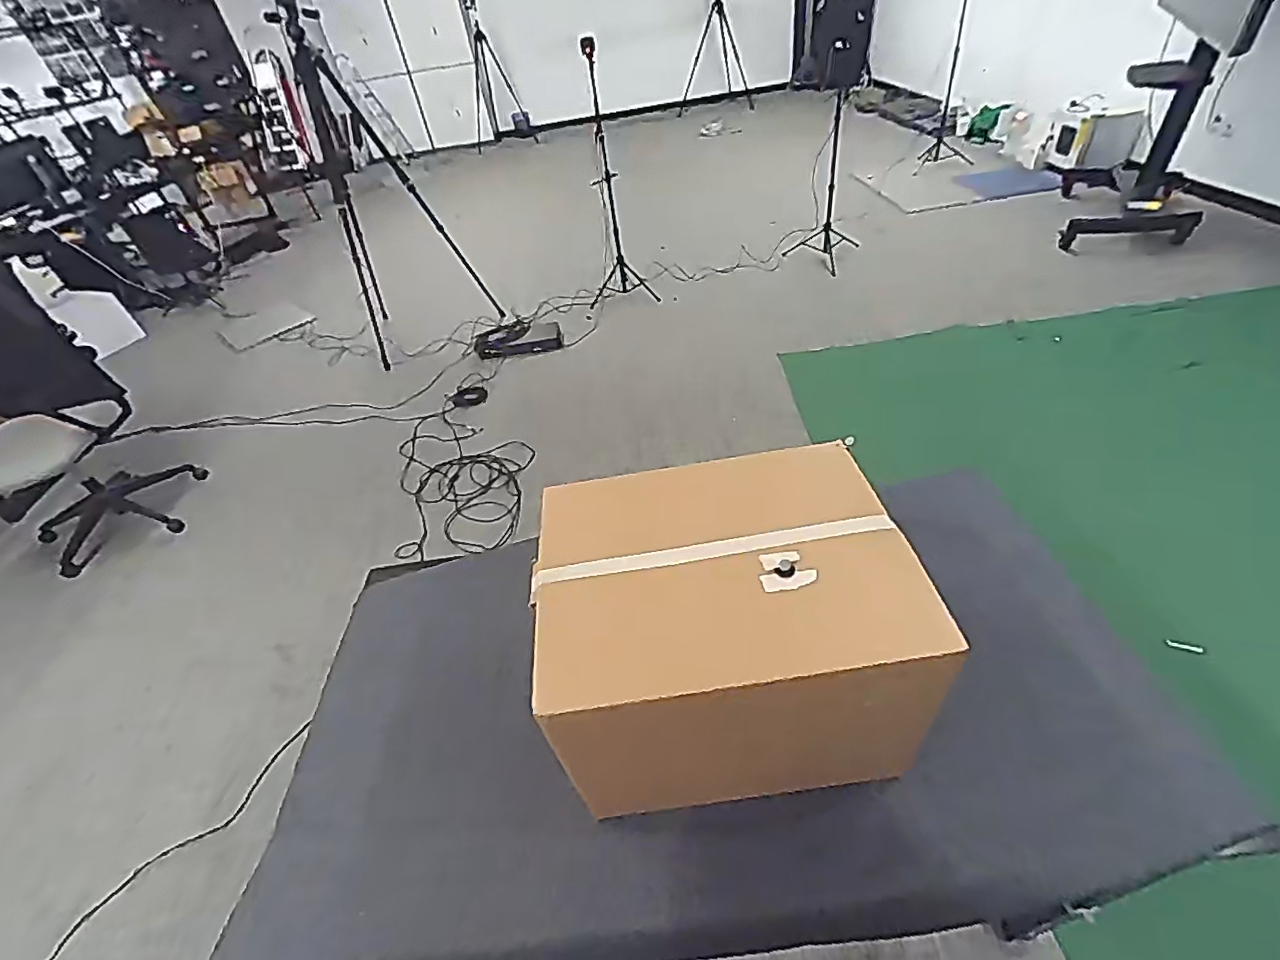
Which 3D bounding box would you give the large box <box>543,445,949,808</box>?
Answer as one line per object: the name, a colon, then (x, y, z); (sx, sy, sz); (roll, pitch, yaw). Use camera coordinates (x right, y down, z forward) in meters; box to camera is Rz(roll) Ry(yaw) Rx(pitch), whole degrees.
large box: (0.103, 0.193, 0.721); (0.408, 0.320, 0.320); (-9, 43, 0)
